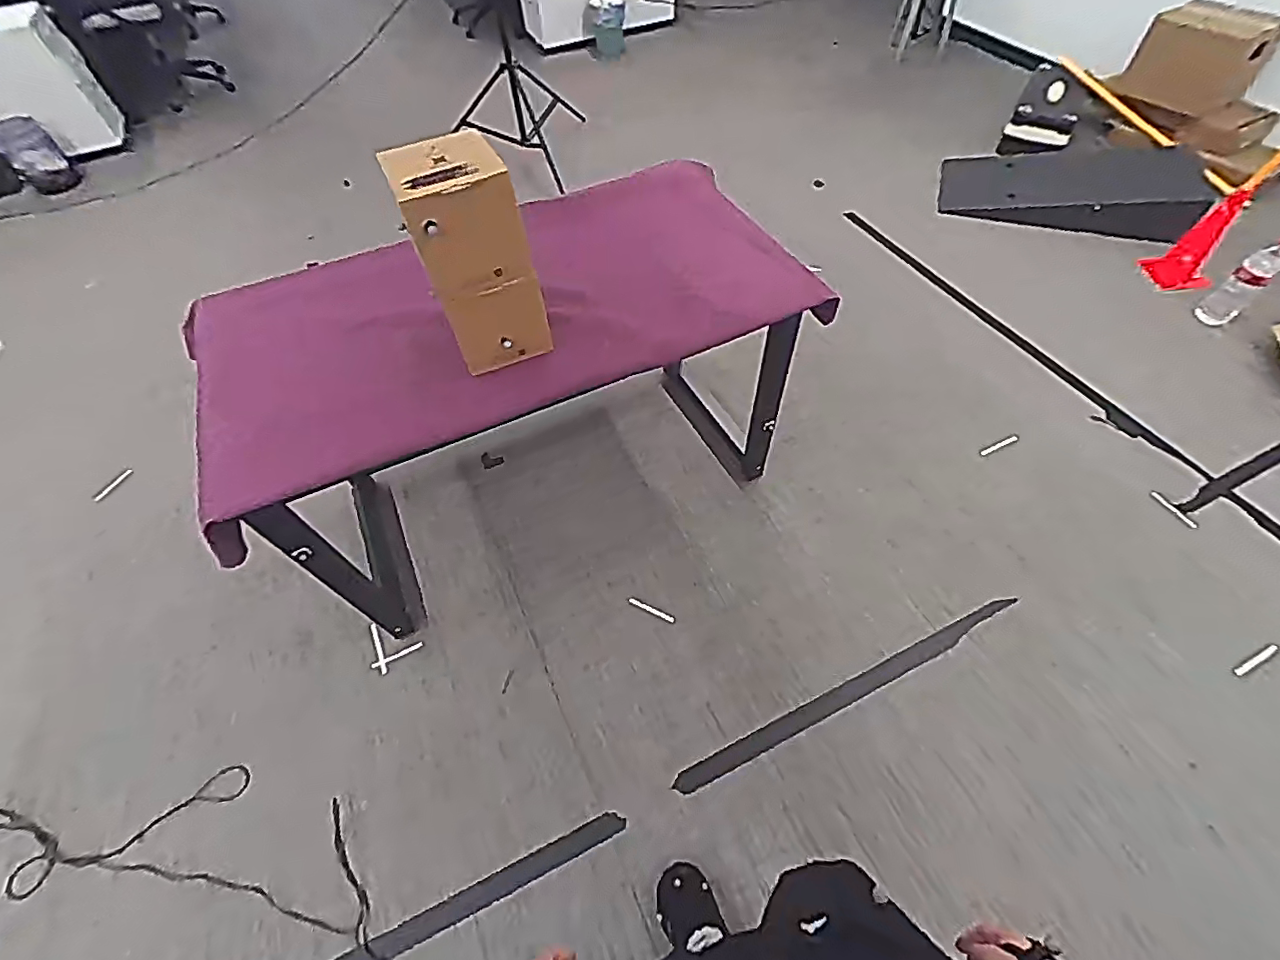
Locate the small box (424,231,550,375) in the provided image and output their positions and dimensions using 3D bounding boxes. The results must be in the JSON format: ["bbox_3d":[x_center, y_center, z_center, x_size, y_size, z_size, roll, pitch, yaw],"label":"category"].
[{"bbox_3d":[-0.282,-0.330,1.016,0.168,0.176,0.179,-22,57,-11],"label":"small box"}]
